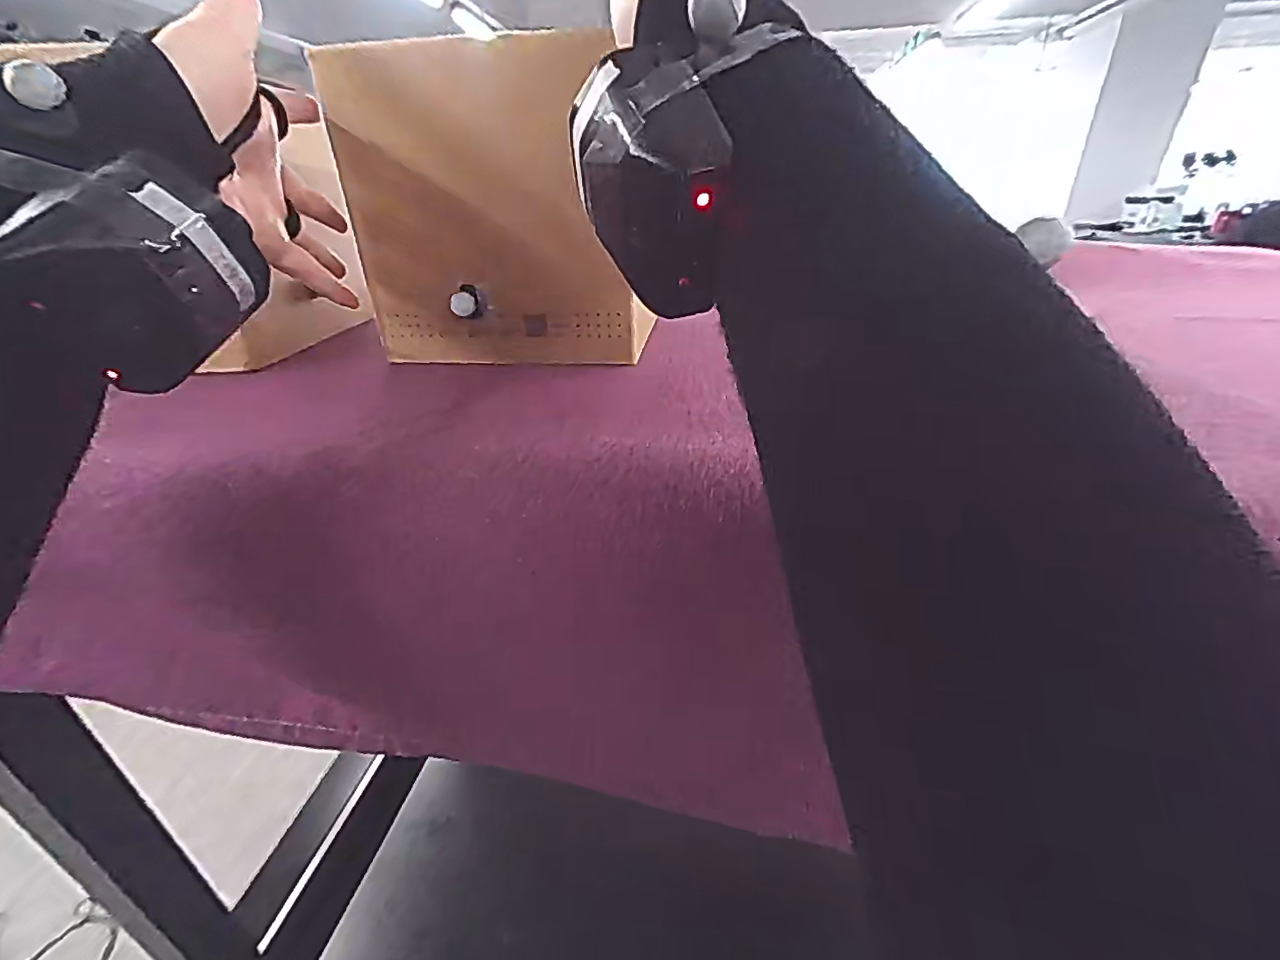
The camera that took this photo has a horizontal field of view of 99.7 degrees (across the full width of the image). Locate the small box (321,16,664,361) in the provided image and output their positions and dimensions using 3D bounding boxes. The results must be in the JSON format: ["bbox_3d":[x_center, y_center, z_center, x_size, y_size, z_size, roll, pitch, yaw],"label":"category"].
[{"bbox_3d":[-0.073,-0.189,0.378,0.168,0.176,0.179,2,29,8],"label":"small box"}]

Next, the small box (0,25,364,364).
[{"bbox_3d":[-0.319,-0.184,0.376,0.168,0.176,0.179,-2,27,1],"label":"small box"}]
